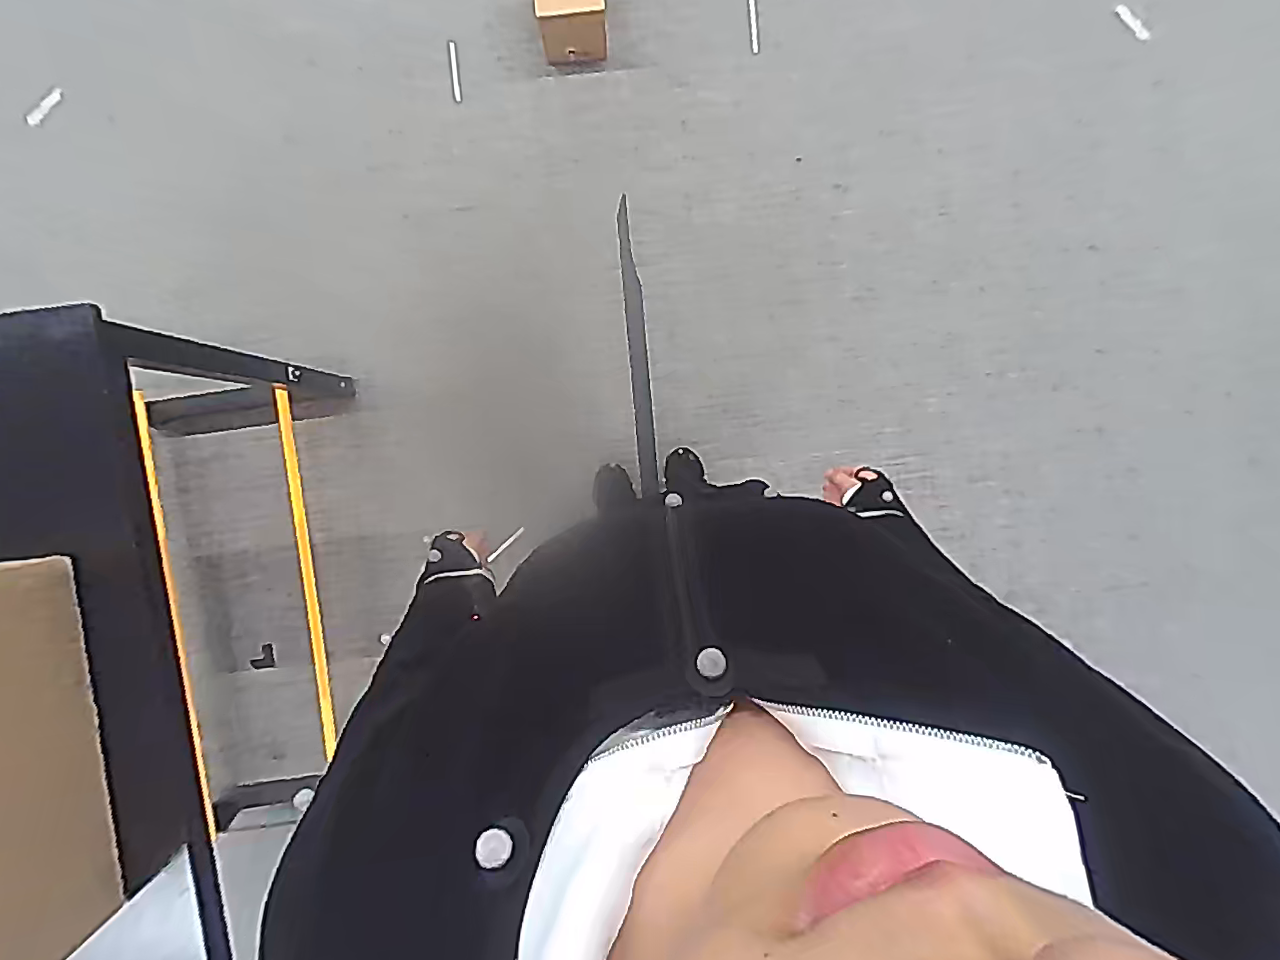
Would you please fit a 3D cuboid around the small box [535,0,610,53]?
[{"bbox_3d":[-0.163,-1.153,1.261,0.168,0.176,0.179,-8,95,0],"label":"small box"}]
